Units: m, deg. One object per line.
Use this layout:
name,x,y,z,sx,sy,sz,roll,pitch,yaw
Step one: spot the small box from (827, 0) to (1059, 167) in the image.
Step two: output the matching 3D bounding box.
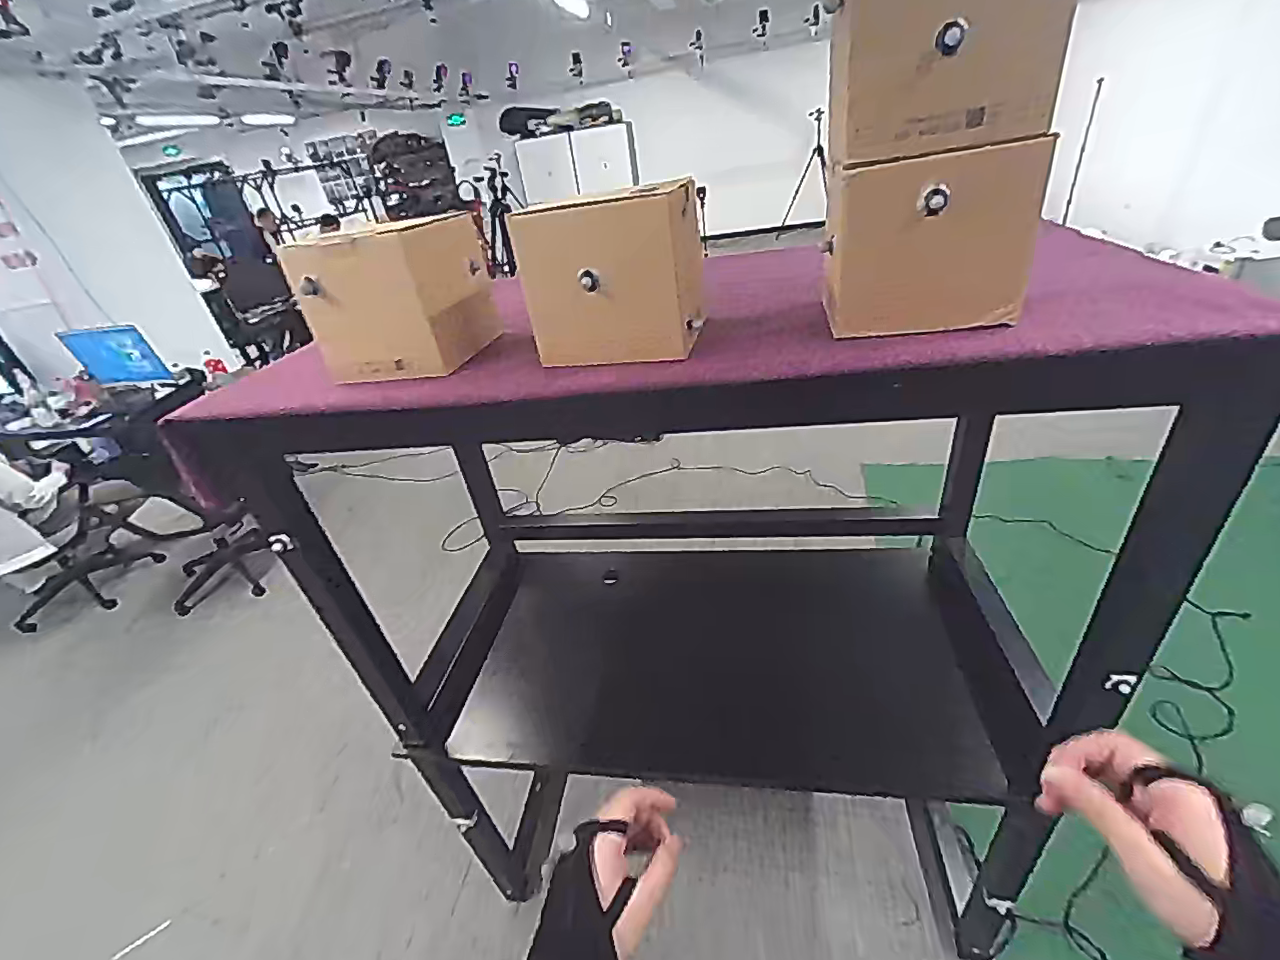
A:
small box,0.267,-0.403,0.507,0.168,0.176,0.179,-1,33,15

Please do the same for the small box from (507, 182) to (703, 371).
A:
small box,-0.025,-0.241,0.645,0.179,0.176,0.168,-1,32,17

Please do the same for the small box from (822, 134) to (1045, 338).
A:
small box,0.294,-0.261,0.585,0.179,0.176,0.168,-1,33,16
